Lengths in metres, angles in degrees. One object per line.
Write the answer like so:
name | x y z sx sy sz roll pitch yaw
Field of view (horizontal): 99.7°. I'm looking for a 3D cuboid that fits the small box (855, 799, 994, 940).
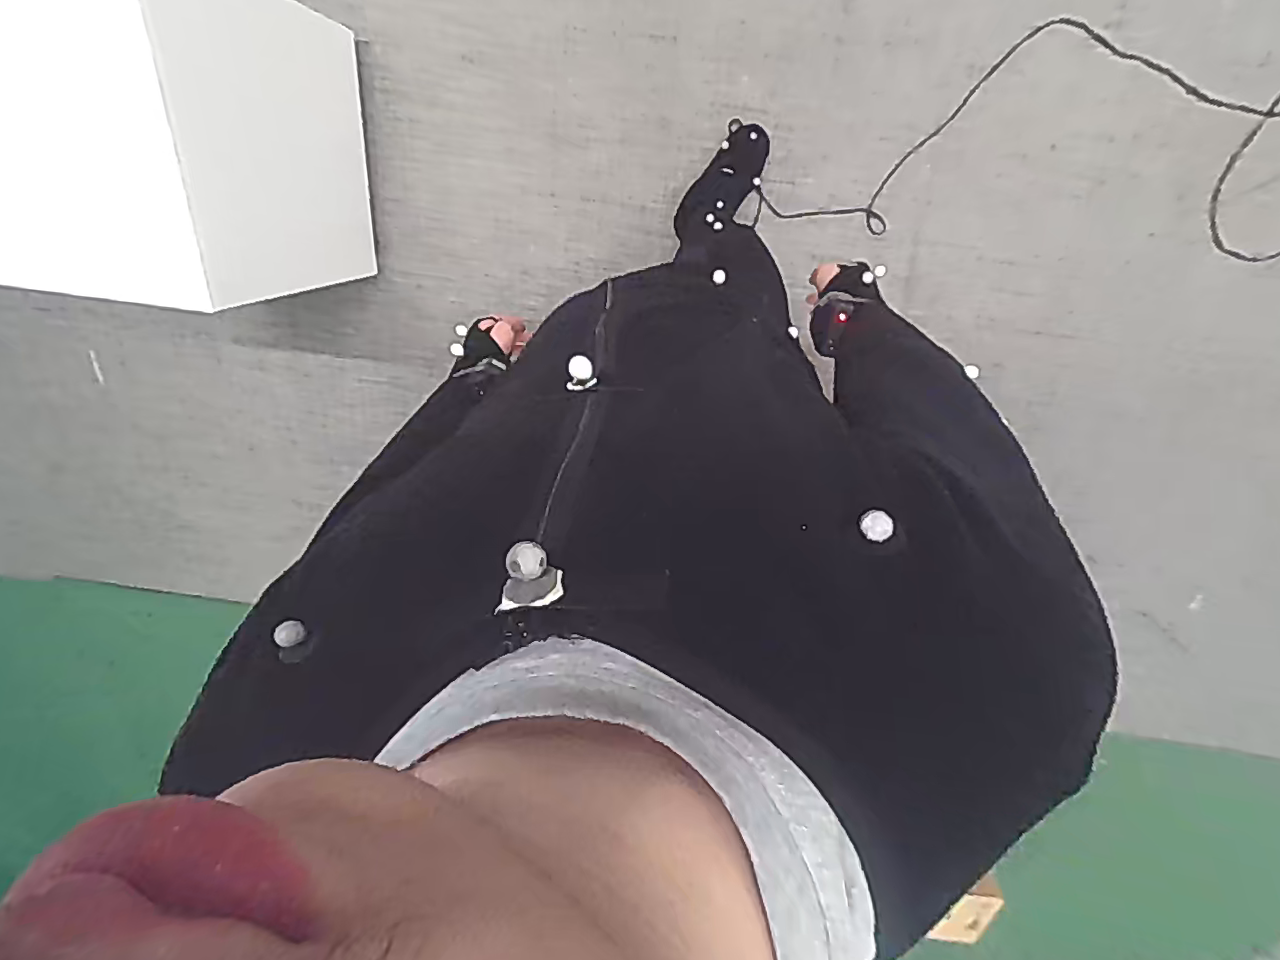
small box | 0.560 0.782 1.096 0.179 0.176 0.168 7 118 1
